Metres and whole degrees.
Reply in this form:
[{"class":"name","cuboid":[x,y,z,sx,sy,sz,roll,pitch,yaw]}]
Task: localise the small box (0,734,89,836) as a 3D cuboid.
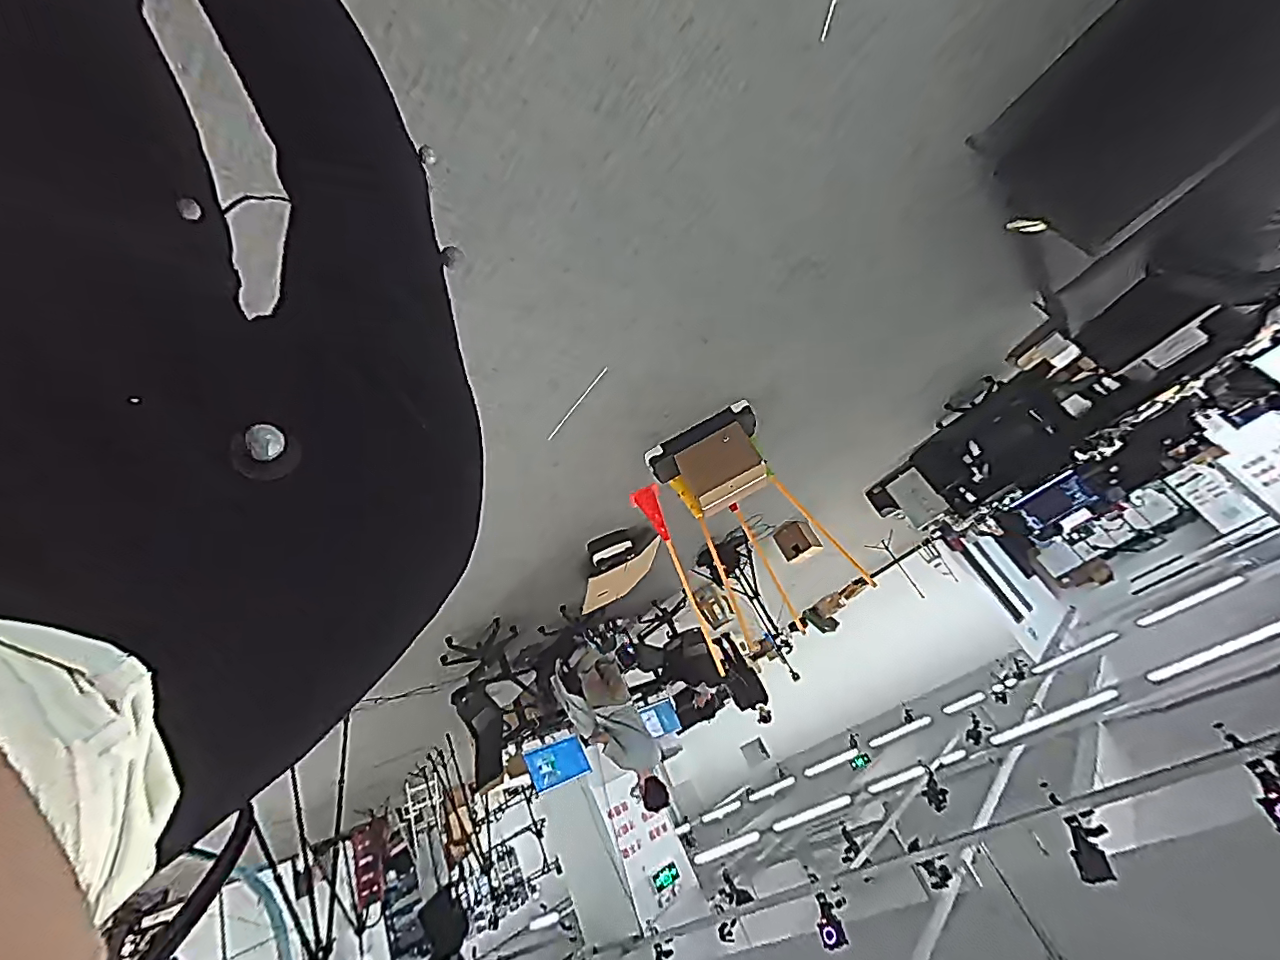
[{"class":"small box","cuboid":[-1.563,0.783,1.388,0.168,0.176,0.179,-40,151,23]}]
